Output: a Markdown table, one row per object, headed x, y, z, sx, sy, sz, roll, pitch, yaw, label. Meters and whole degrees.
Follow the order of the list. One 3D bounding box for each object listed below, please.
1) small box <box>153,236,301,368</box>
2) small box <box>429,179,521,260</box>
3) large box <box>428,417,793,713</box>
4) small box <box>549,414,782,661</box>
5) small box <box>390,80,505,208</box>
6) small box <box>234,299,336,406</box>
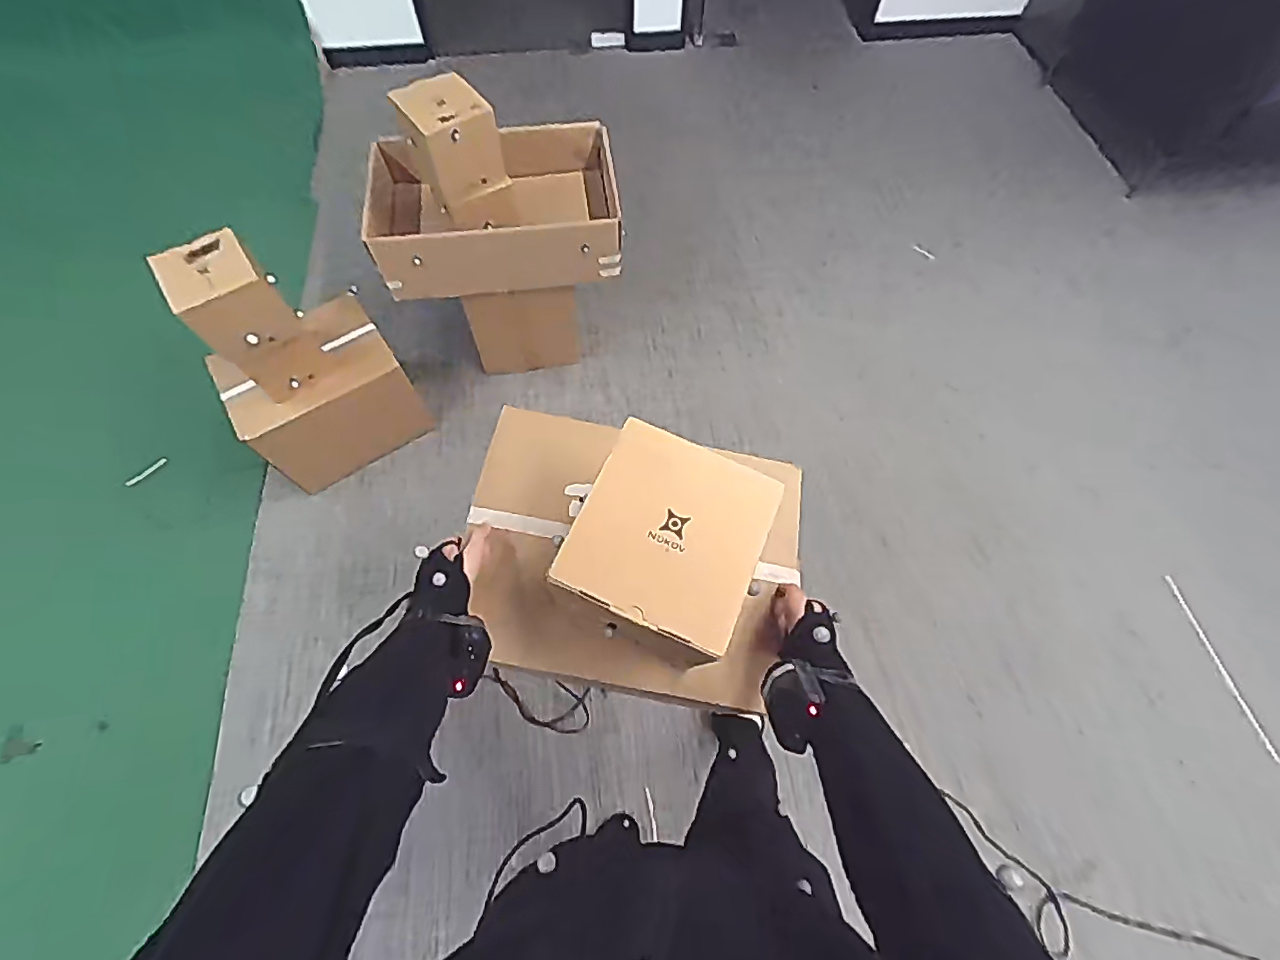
| x | y | z | sx | sy | sz | roll | pitch | yaw | label |
| --- | --- | --- | --- | --- | --- | --- | --- | --- | --- |
| -0.874 | -0.376 | 1.159 | 0.168 | 0.176 | 0.179 | -32 | 70 | -15 | small box |
| -0.425 | -0.697 | 1.394 | 0.168 | 0.176 | 0.179 | -28 | 67 | -15 | small box |
| -0.024 | 0.143 | 0.786 | 0.408 | 0.320 | 0.320 | 10 | 66 | 0 | large box |
| 0.019 | 0.069 | 0.555 | 0.168 | 0.176 | 0.179 | 23 | 69 | 4 | small box |
| -0.437 | -0.770 | 1.247 | 0.168 | 0.176 | 0.179 | -34 | 69 | -17 | small box |
| -0.883 | -0.313 | 1.310 | 0.168 | 0.176 | 0.179 | -36 | 70 | -16 | small box |
